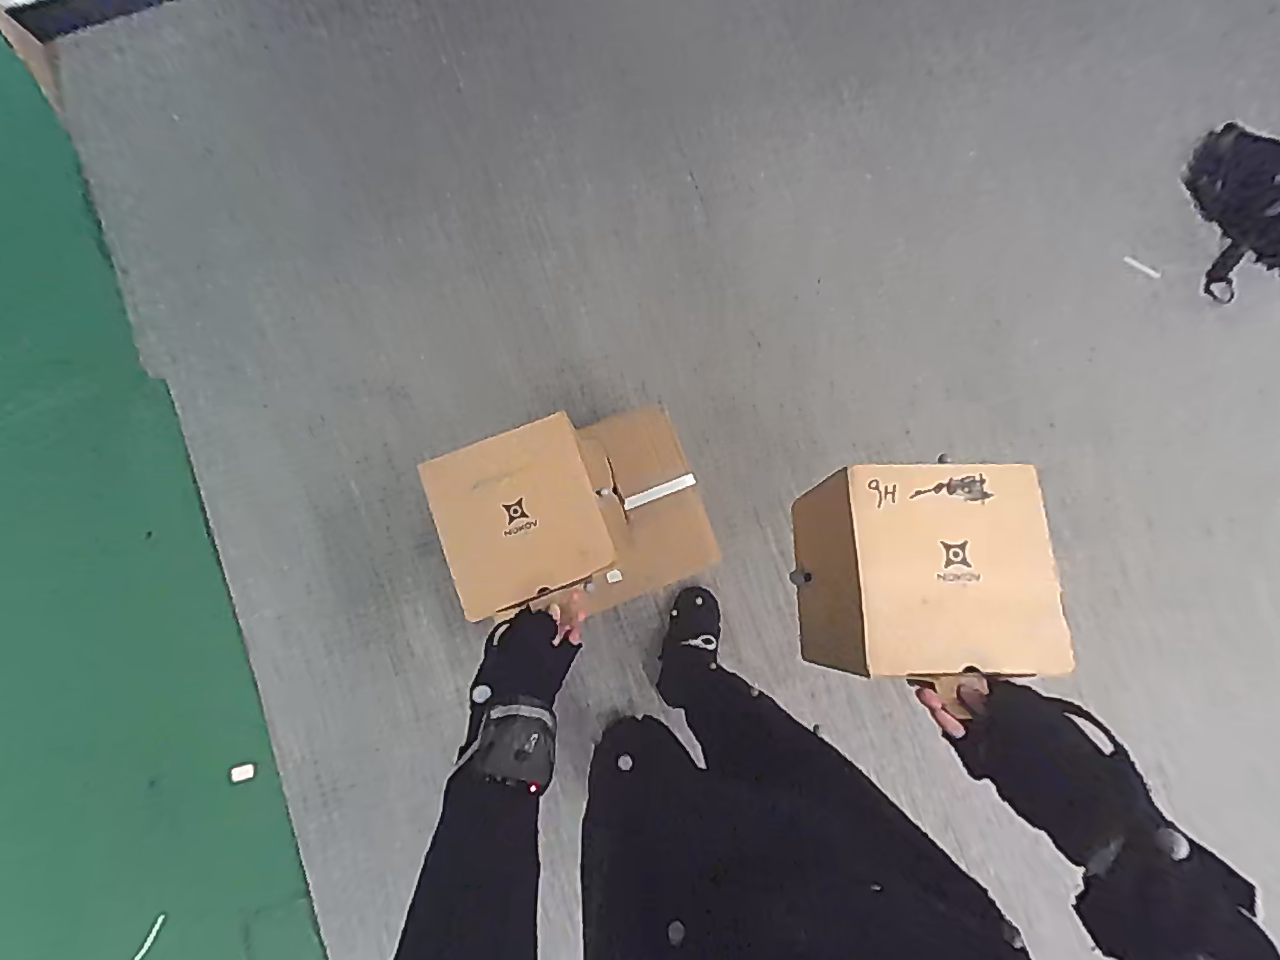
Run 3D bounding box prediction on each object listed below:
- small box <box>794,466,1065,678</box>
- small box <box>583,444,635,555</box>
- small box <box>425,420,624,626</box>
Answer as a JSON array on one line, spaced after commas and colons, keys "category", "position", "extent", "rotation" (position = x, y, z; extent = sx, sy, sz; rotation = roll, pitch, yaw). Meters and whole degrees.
[{"category": "small box", "position": [0.259, 0.091, 0.529], "extent": [0.168, 0.176, 0.179], "rotation": [0, 76, -1]}, {"category": "small box", "position": [-0.113, 0.047, 0.849], "extent": [0.179, 0.176, 0.168], "rotation": [-14, 88, -3]}, {"category": "small box", "position": [-0.122, 0.052, 0.640], "extent": [0.168, 0.176, 0.179], "rotation": [-21, 82, -4]}]
